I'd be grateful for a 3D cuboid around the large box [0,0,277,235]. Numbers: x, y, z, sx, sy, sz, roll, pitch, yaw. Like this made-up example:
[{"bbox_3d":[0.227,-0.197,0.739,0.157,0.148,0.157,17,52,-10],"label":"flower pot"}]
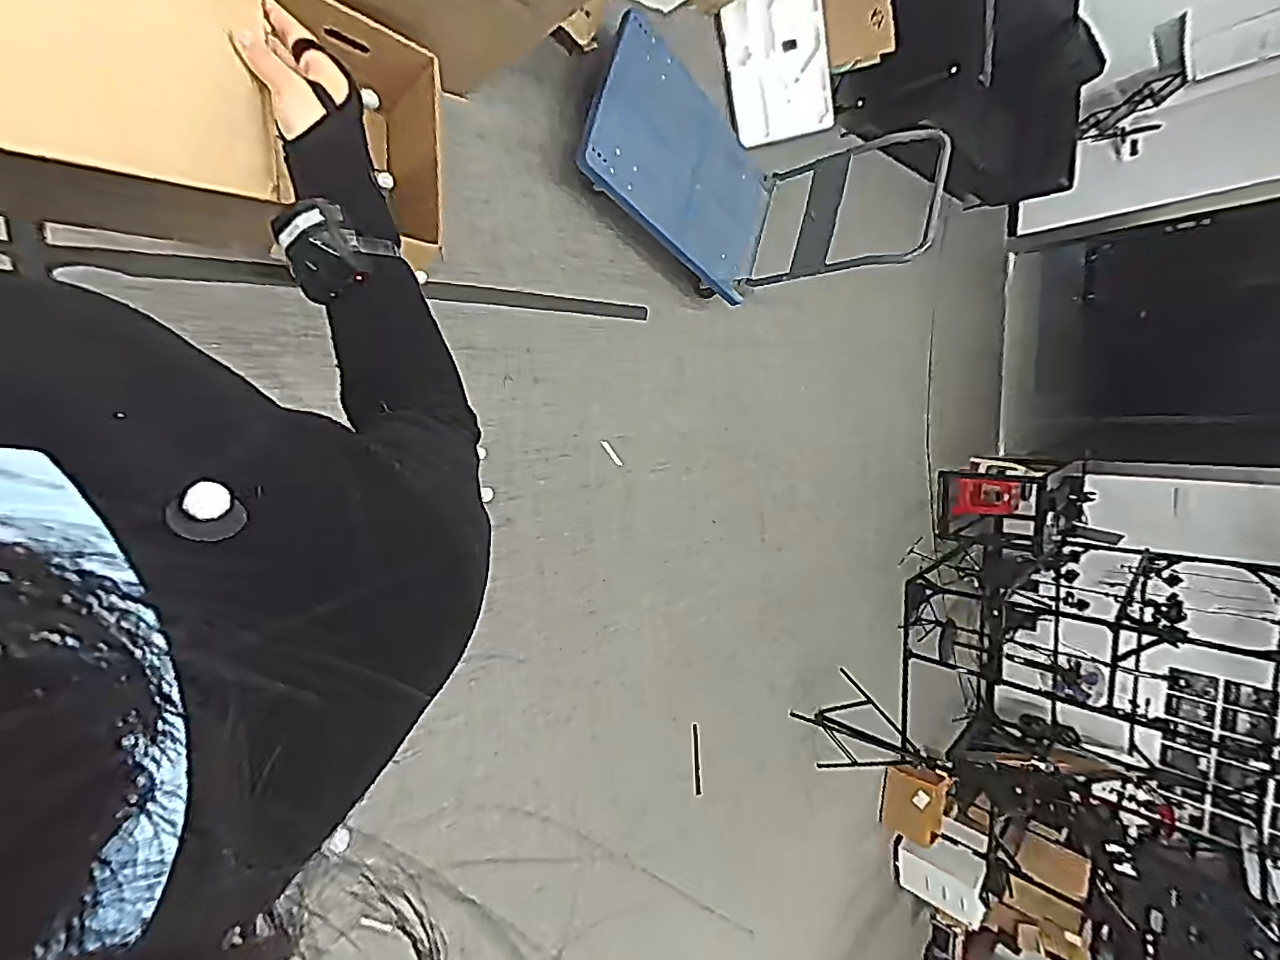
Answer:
[{"bbox_3d":[-0.546,-0.391,0.398,0.408,0.320,0.320,-9,106,-41],"label":"large box"}]
